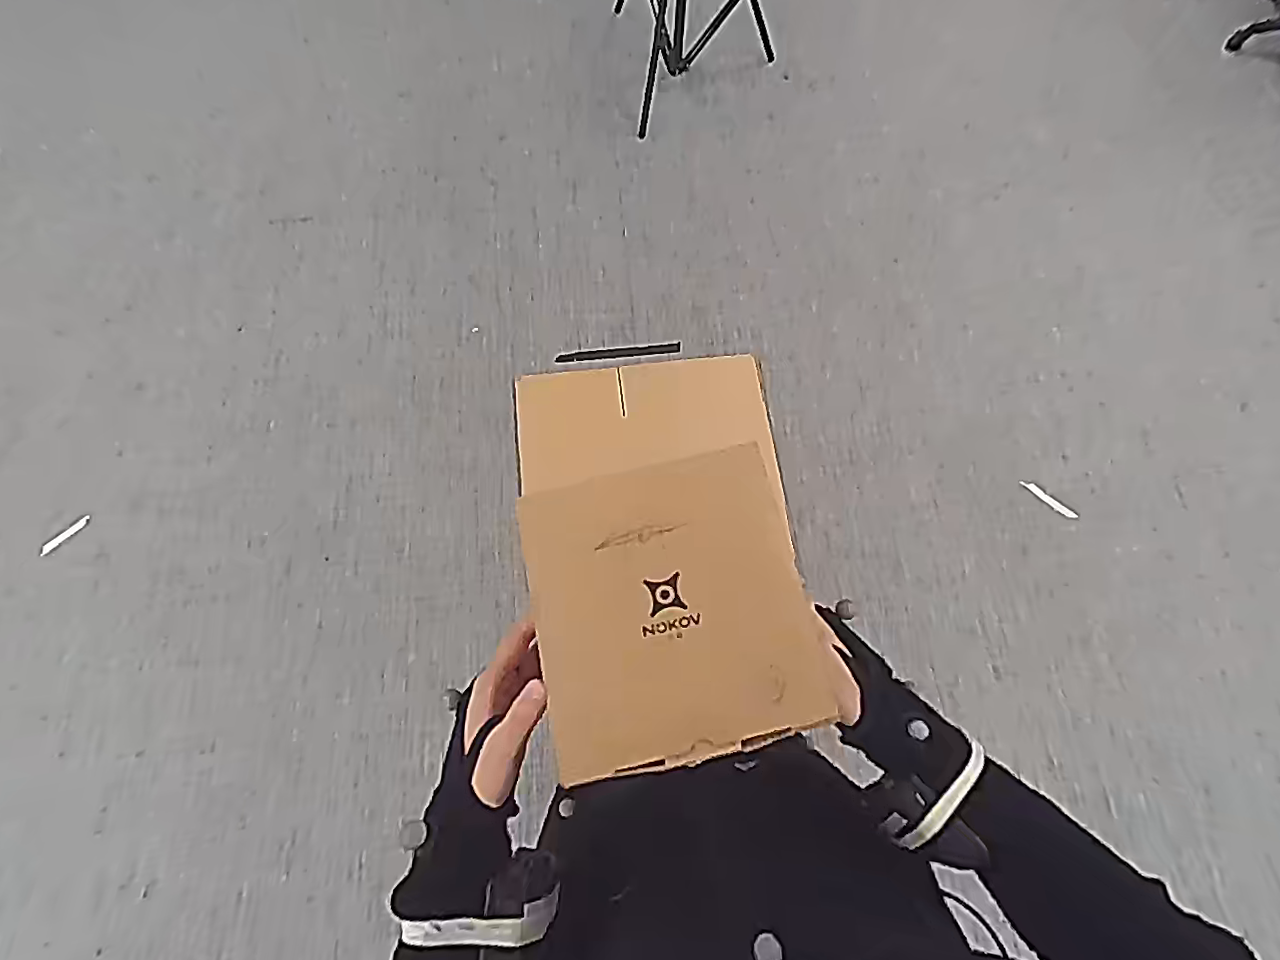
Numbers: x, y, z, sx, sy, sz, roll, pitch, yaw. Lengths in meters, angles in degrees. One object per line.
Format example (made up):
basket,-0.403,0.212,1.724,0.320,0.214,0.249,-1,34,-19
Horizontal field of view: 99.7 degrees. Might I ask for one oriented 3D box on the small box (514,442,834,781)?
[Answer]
small box,0.019,0.095,0.408,0.168,0.176,0.179,-14,73,-2
